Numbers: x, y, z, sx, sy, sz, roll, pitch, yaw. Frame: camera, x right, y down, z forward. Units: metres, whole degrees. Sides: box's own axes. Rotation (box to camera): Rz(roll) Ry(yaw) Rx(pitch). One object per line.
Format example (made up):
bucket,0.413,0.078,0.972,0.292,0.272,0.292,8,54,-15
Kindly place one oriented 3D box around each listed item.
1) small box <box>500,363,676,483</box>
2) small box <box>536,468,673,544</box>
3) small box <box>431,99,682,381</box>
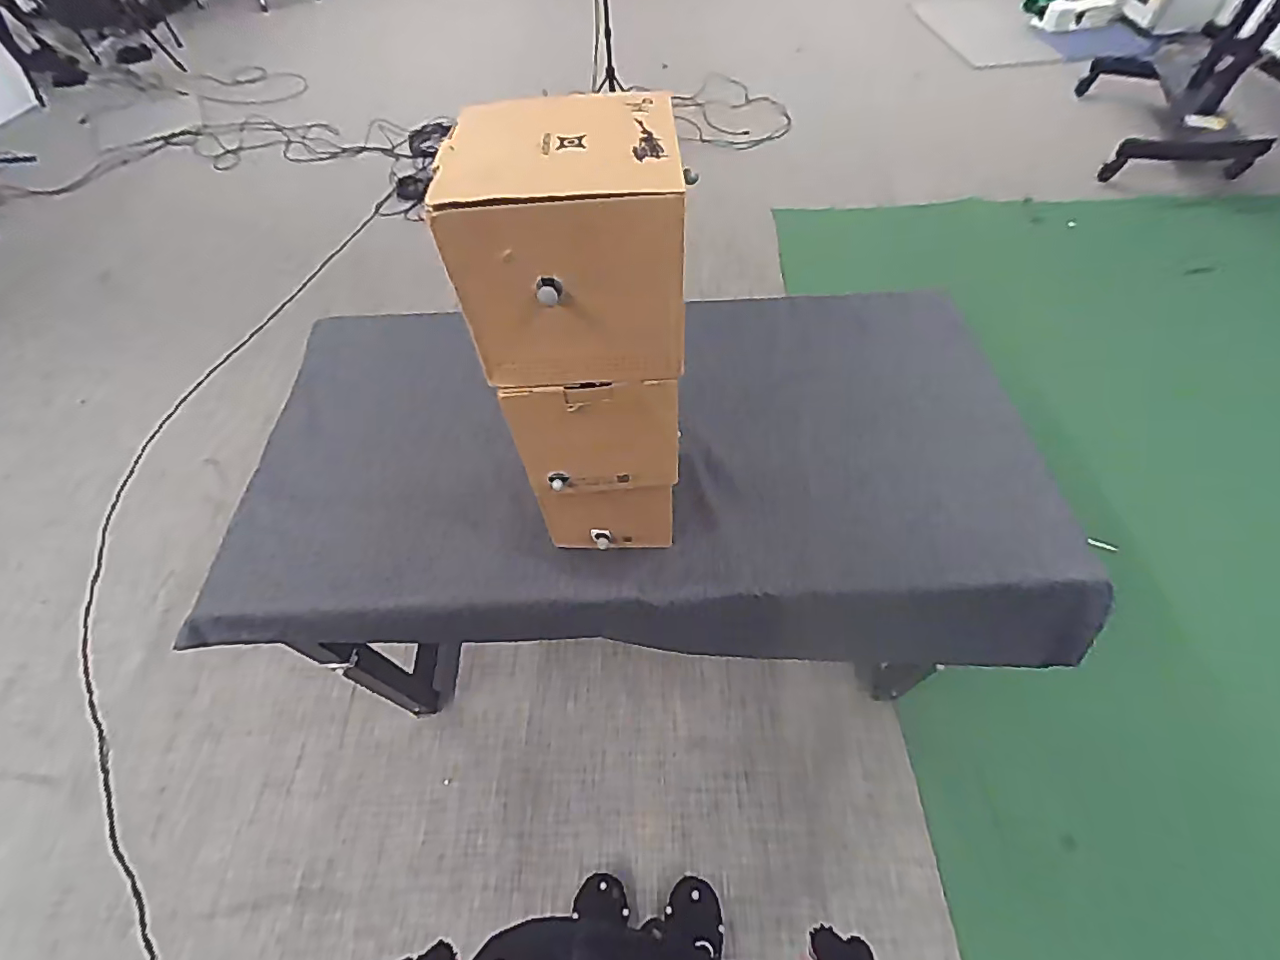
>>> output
small box,-0.052,-0.110,0.609,0.168,0.176,0.179,-8,56,-1
small box,-0.039,-0.028,0.751,0.168,0.176,0.179,-3,57,3
small box,-0.058,-0.204,0.478,0.179,0.176,0.168,-6,53,0
